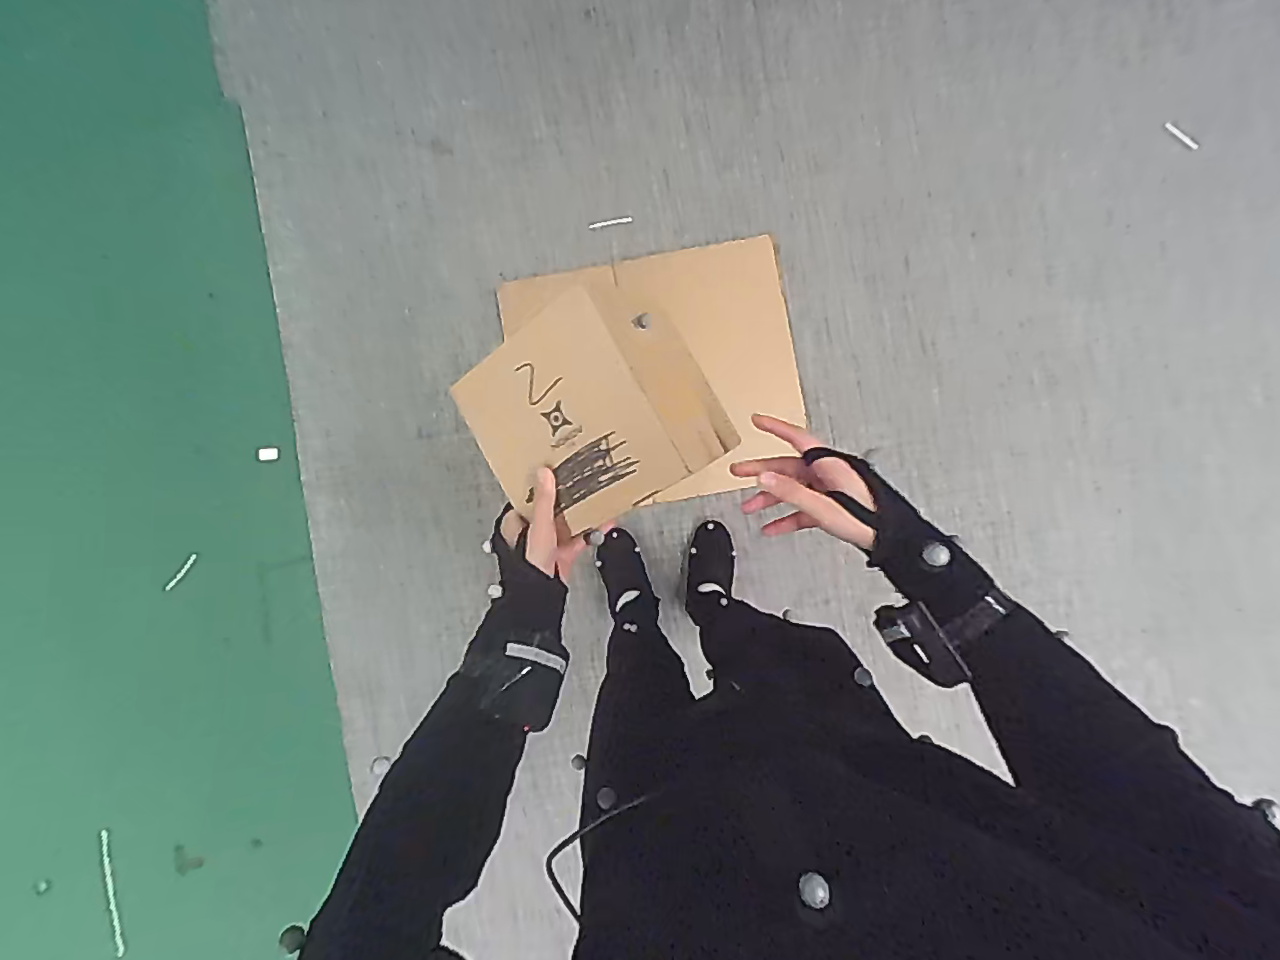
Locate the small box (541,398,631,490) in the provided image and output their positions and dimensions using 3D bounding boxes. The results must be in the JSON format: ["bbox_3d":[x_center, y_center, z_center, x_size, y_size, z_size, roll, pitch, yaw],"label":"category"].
[{"bbox_3d":[-0.118,-0.078,1.252,0.168,0.176,0.179,-12,88,1],"label":"small box"}]
